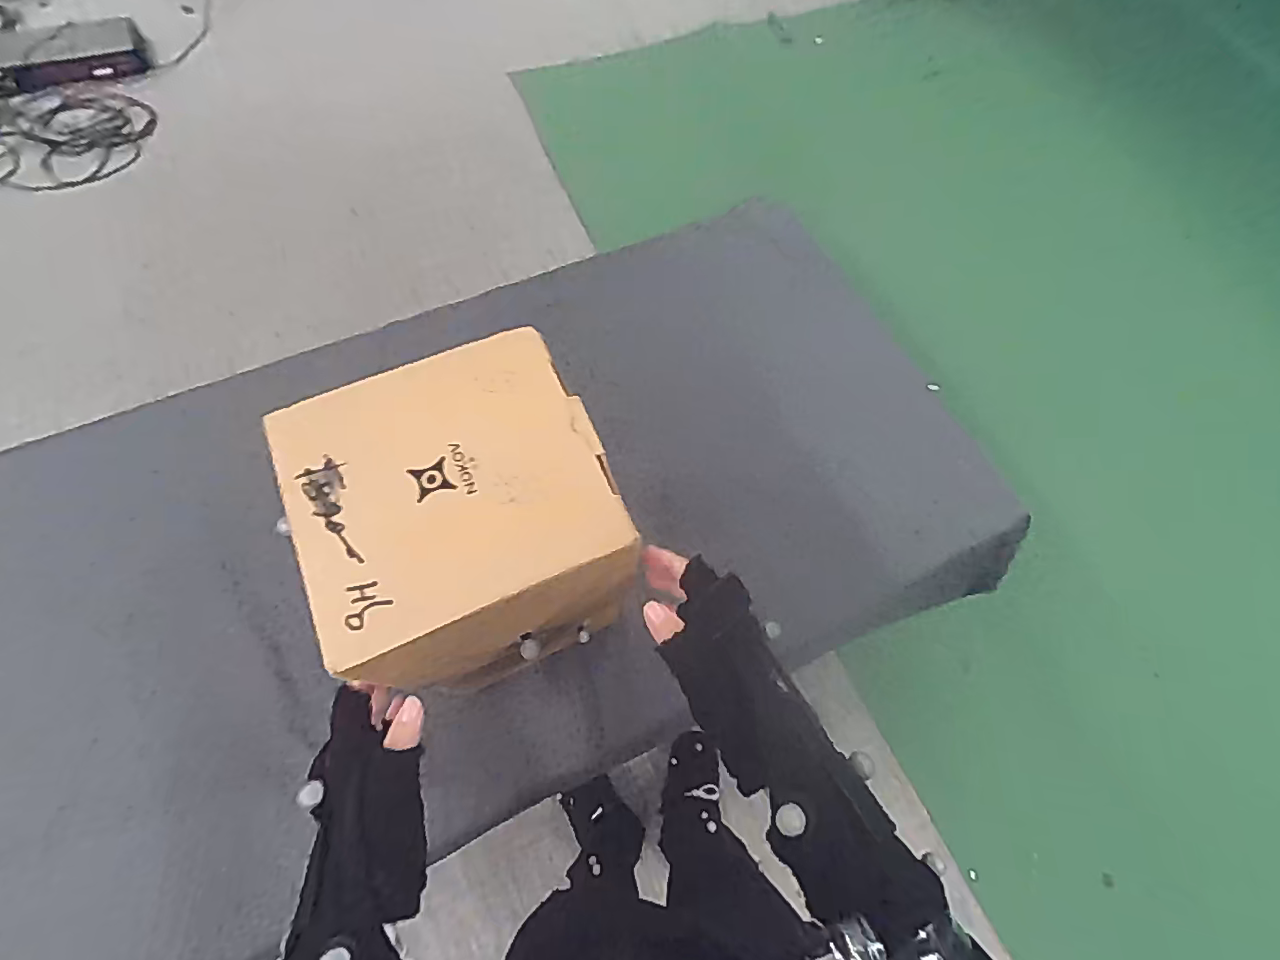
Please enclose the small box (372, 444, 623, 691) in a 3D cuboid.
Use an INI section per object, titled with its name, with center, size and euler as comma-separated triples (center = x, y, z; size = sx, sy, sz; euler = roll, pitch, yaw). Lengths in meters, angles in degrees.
[small box]
center = -0.132, 0.096, 0.549
size = 0.179, 0.176, 0.168
euler = -25, 70, -12
